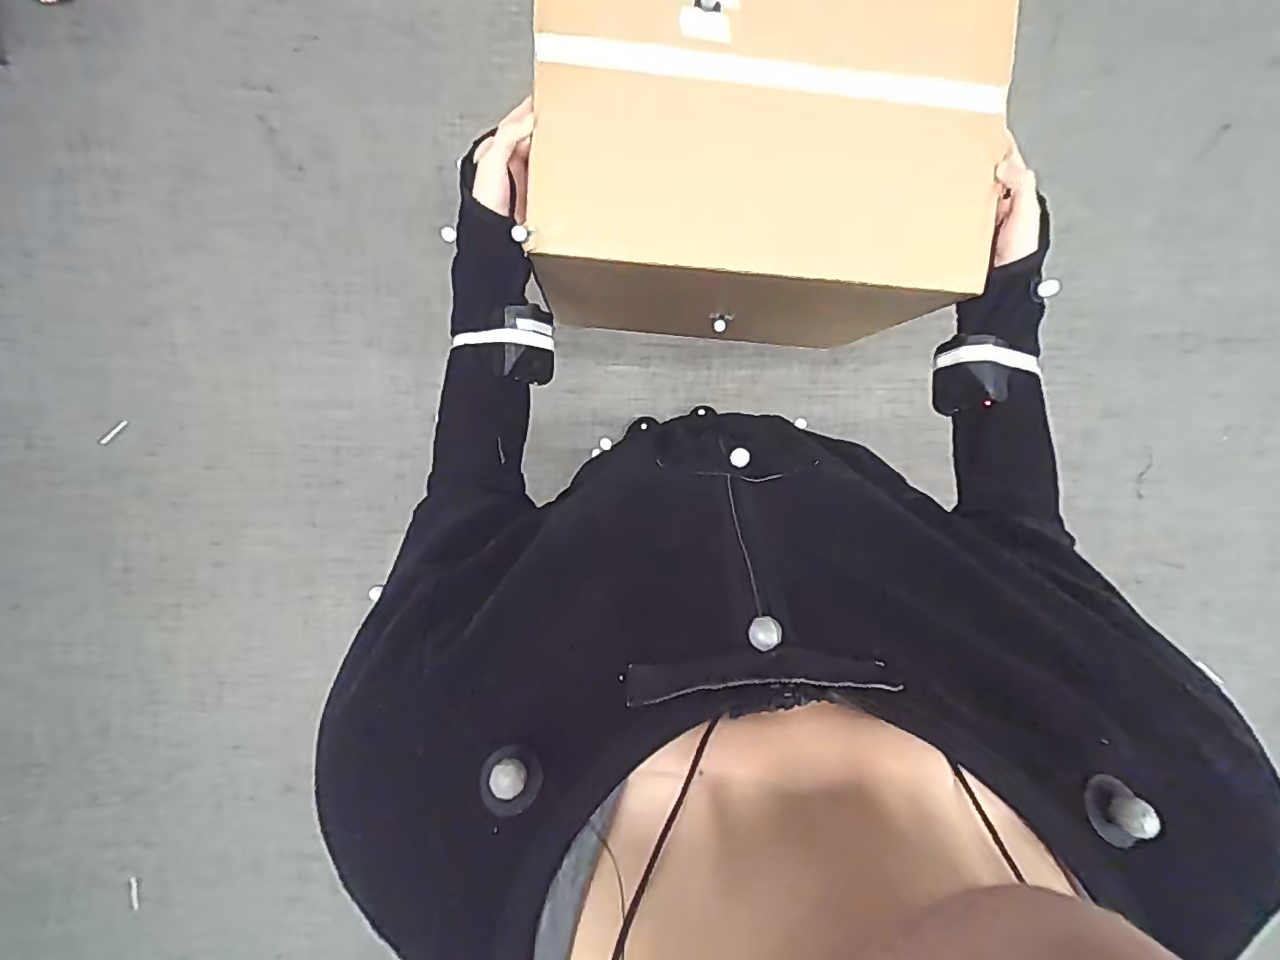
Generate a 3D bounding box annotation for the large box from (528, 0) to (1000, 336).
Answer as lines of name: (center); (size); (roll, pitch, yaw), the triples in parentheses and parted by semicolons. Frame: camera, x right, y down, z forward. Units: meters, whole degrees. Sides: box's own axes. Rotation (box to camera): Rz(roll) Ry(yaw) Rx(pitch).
large box: (0.102, -0.350, 0.613); (0.408, 0.320, 0.320); (4, 95, -4)
